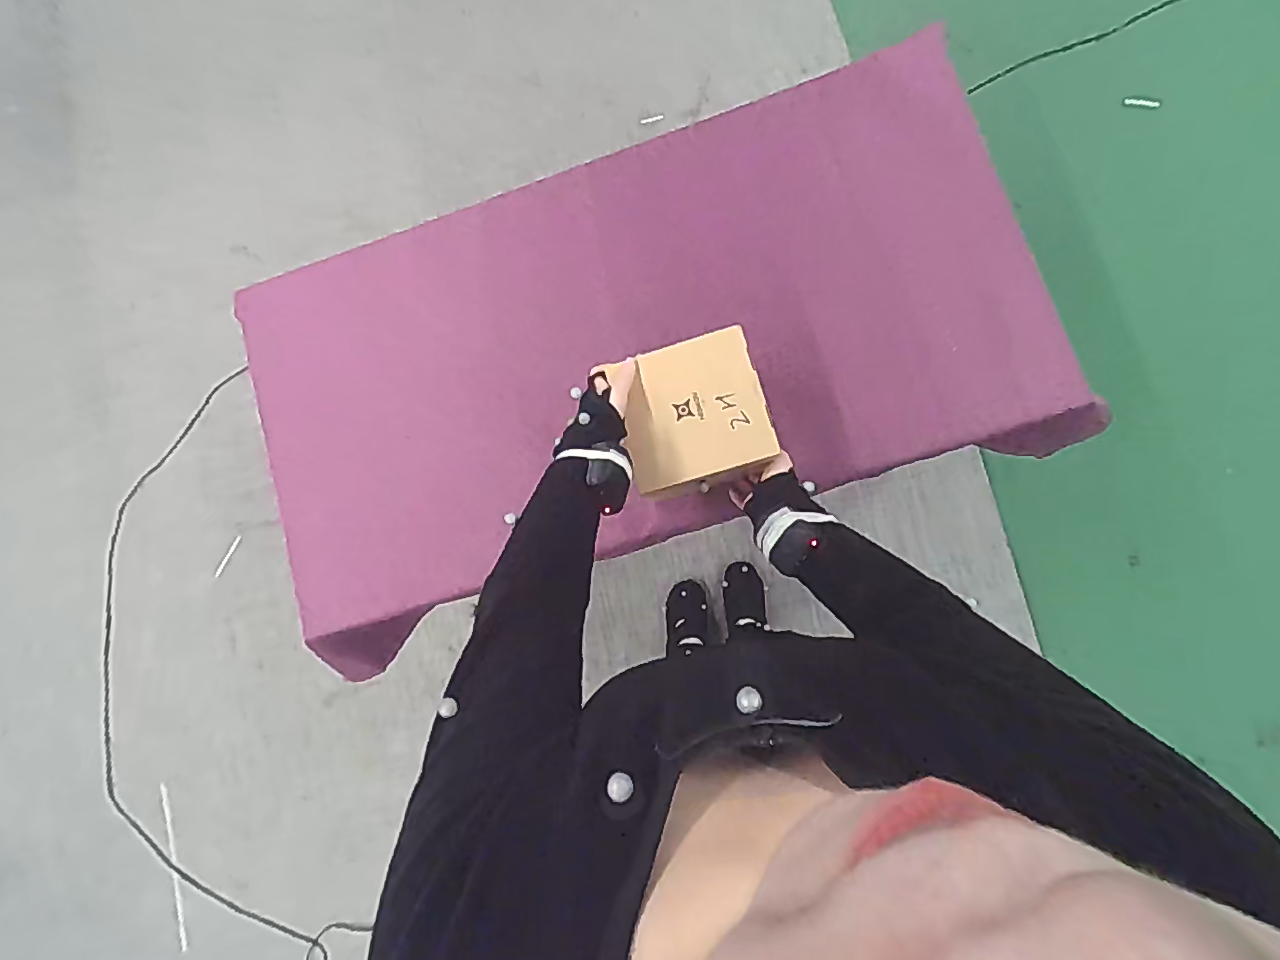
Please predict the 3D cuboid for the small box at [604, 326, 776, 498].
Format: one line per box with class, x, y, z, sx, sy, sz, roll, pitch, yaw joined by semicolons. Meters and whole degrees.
small box;0.067;-0.077;0.725;0.179;0.176;0.168;-16;84;5
